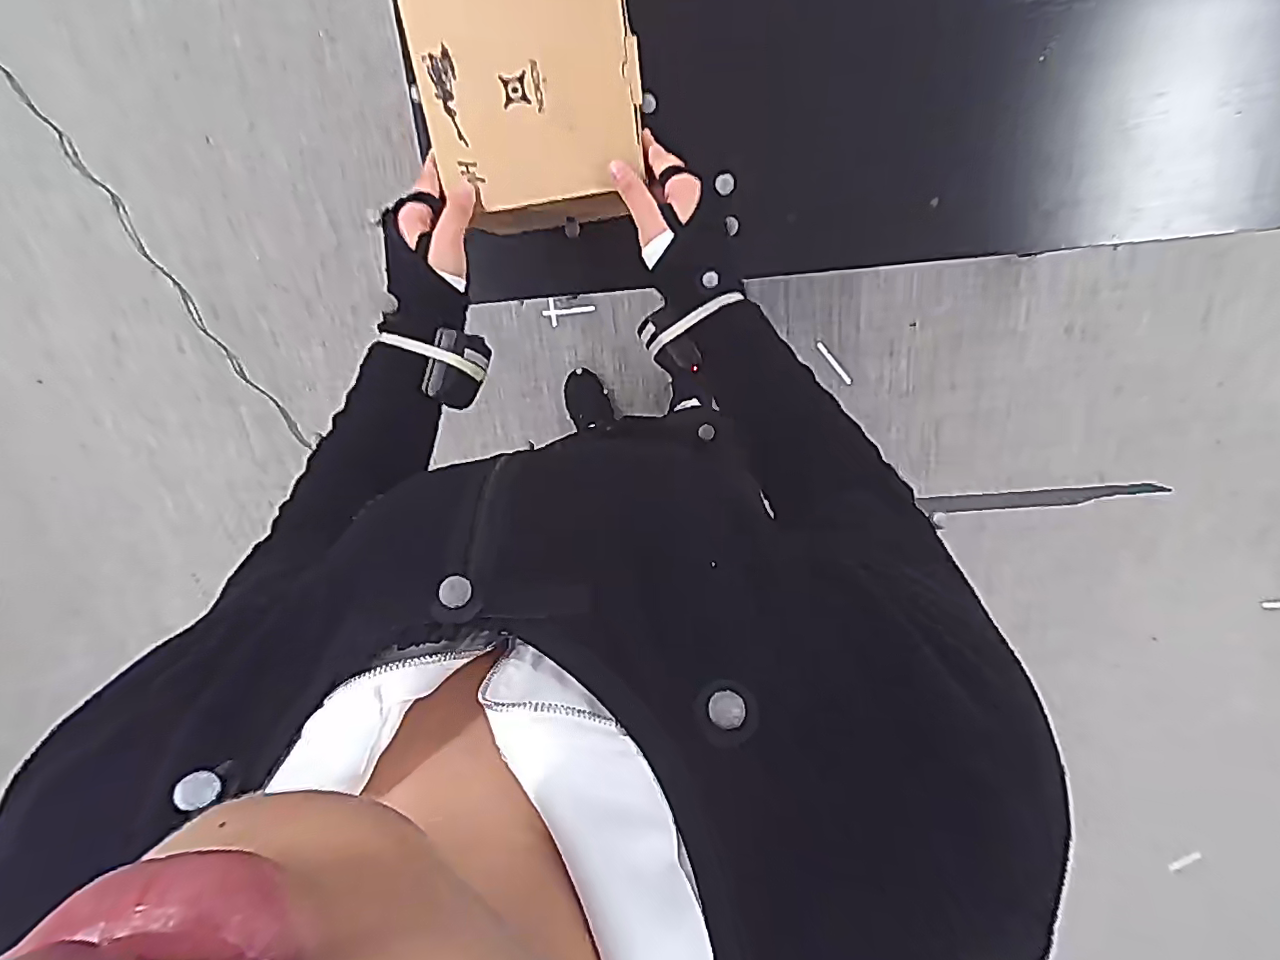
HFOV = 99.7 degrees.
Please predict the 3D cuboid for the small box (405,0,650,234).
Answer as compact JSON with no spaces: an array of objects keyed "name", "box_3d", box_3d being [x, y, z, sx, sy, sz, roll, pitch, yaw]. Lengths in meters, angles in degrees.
[{"name":"small box","box_3d":[-0.087,-0.339,0.514,0.179,0.176,0.168,-7,109,4]}]
